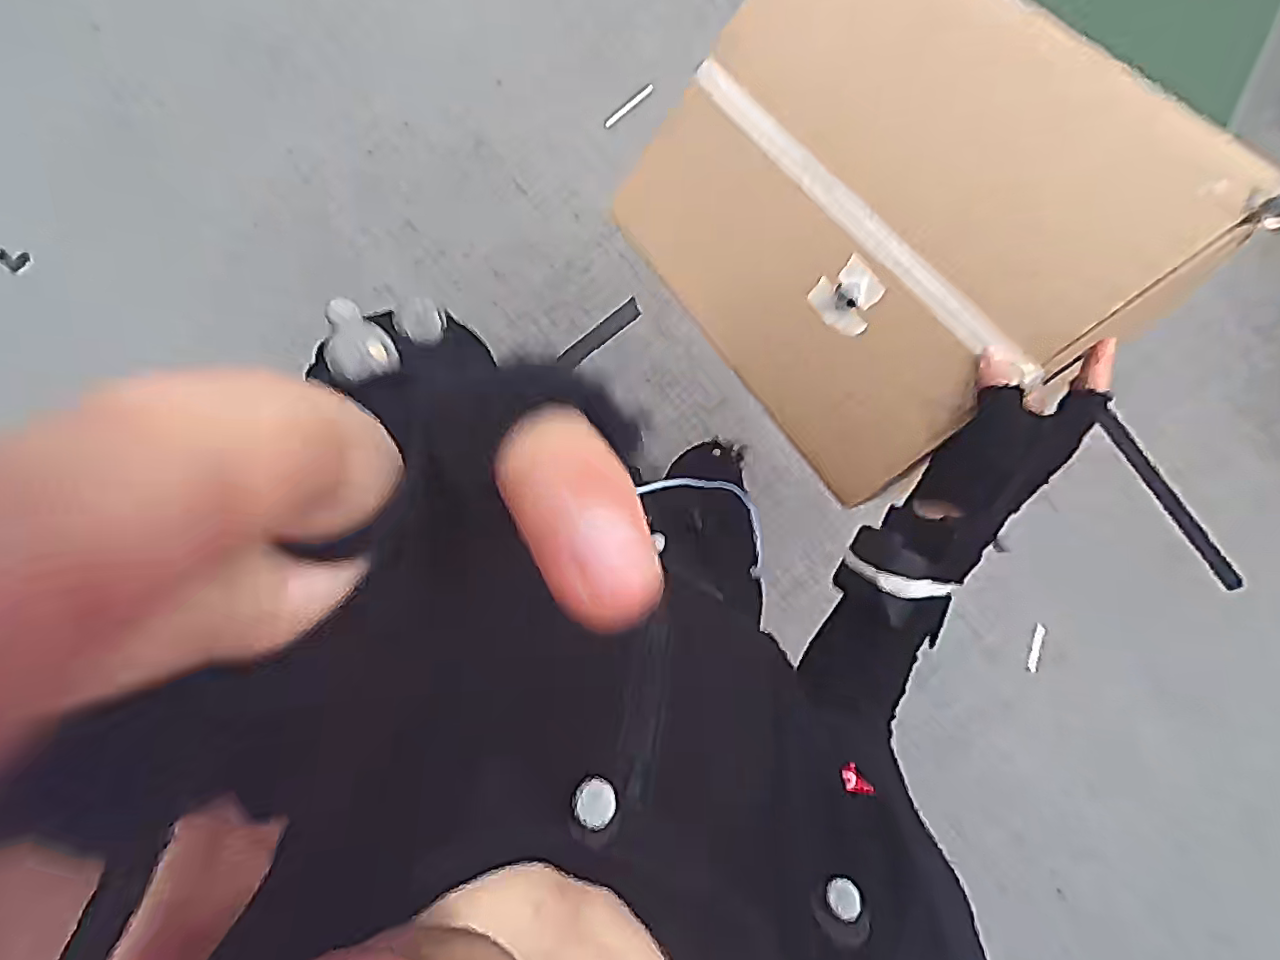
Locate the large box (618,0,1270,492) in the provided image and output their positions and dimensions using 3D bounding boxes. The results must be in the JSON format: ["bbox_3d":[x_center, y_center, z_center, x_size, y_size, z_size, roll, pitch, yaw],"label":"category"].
[{"bbox_3d":[0.257,-0.243,0.575,0.320,0.320,0.408,-44,69,30],"label":"large box"}]
